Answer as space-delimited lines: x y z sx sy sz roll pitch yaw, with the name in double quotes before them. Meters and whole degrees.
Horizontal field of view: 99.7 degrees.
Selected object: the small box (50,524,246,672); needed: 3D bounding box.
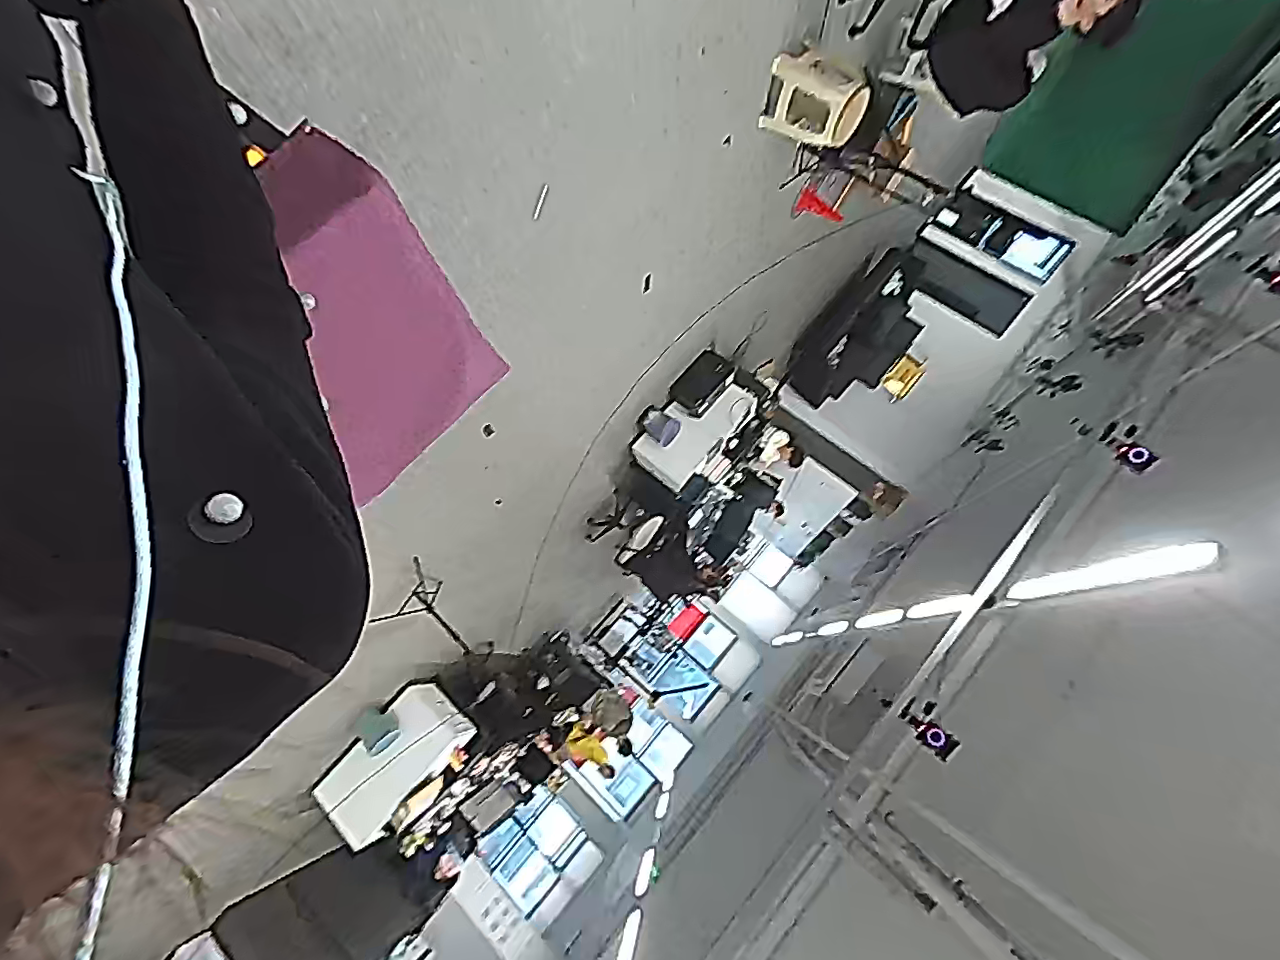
"small box" -0.864 0.210 0.952 0.179 0.176 0.168 -47 164 -13
